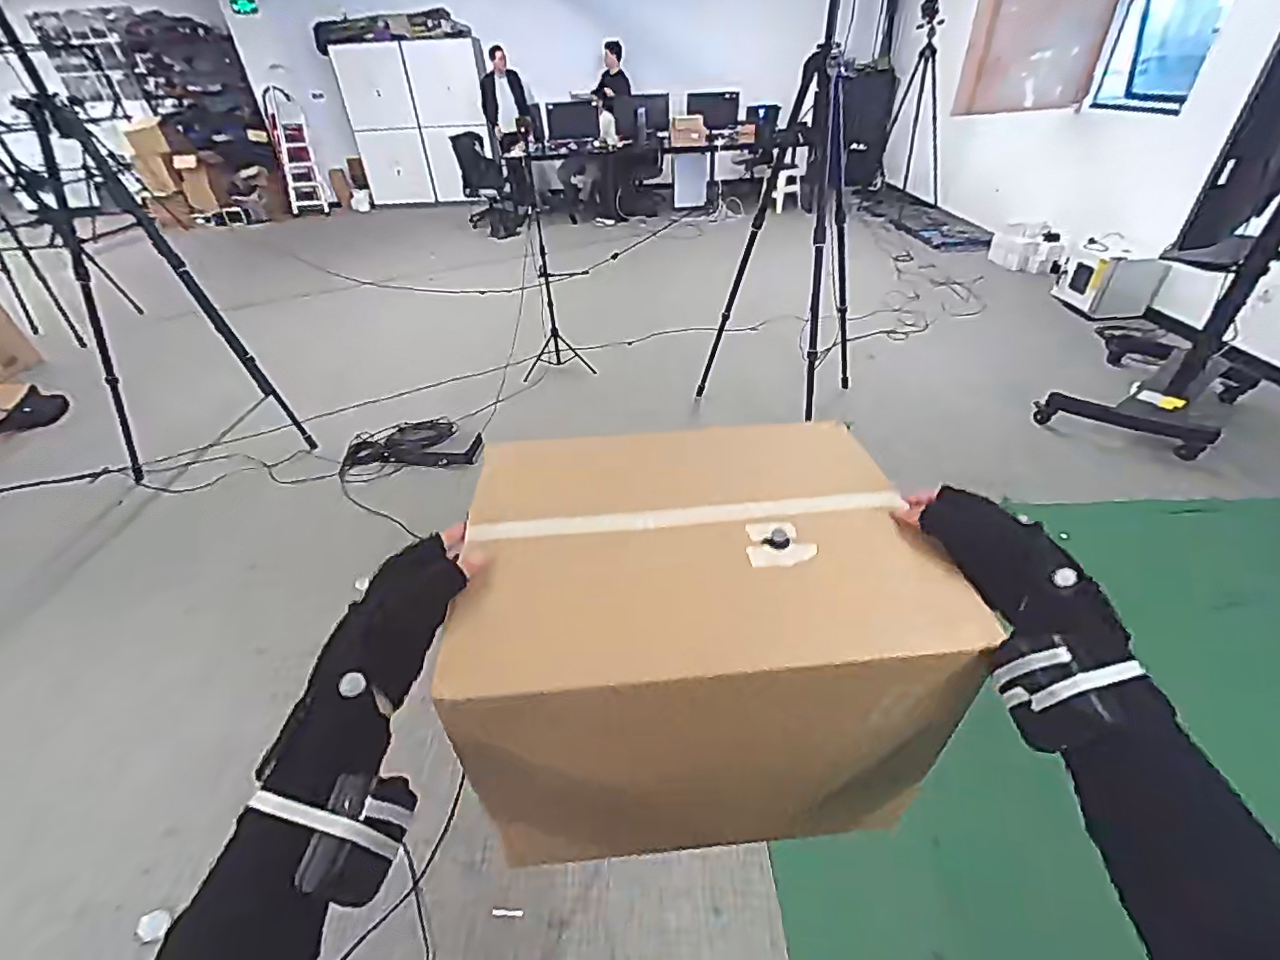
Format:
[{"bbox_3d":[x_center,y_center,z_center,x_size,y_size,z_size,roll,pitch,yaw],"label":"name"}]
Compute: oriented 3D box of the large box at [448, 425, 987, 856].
[{"bbox_3d":[0.048,0.157,0.589,0.408,0.320,0.320,-3,37,-4],"label":"large box"}]
